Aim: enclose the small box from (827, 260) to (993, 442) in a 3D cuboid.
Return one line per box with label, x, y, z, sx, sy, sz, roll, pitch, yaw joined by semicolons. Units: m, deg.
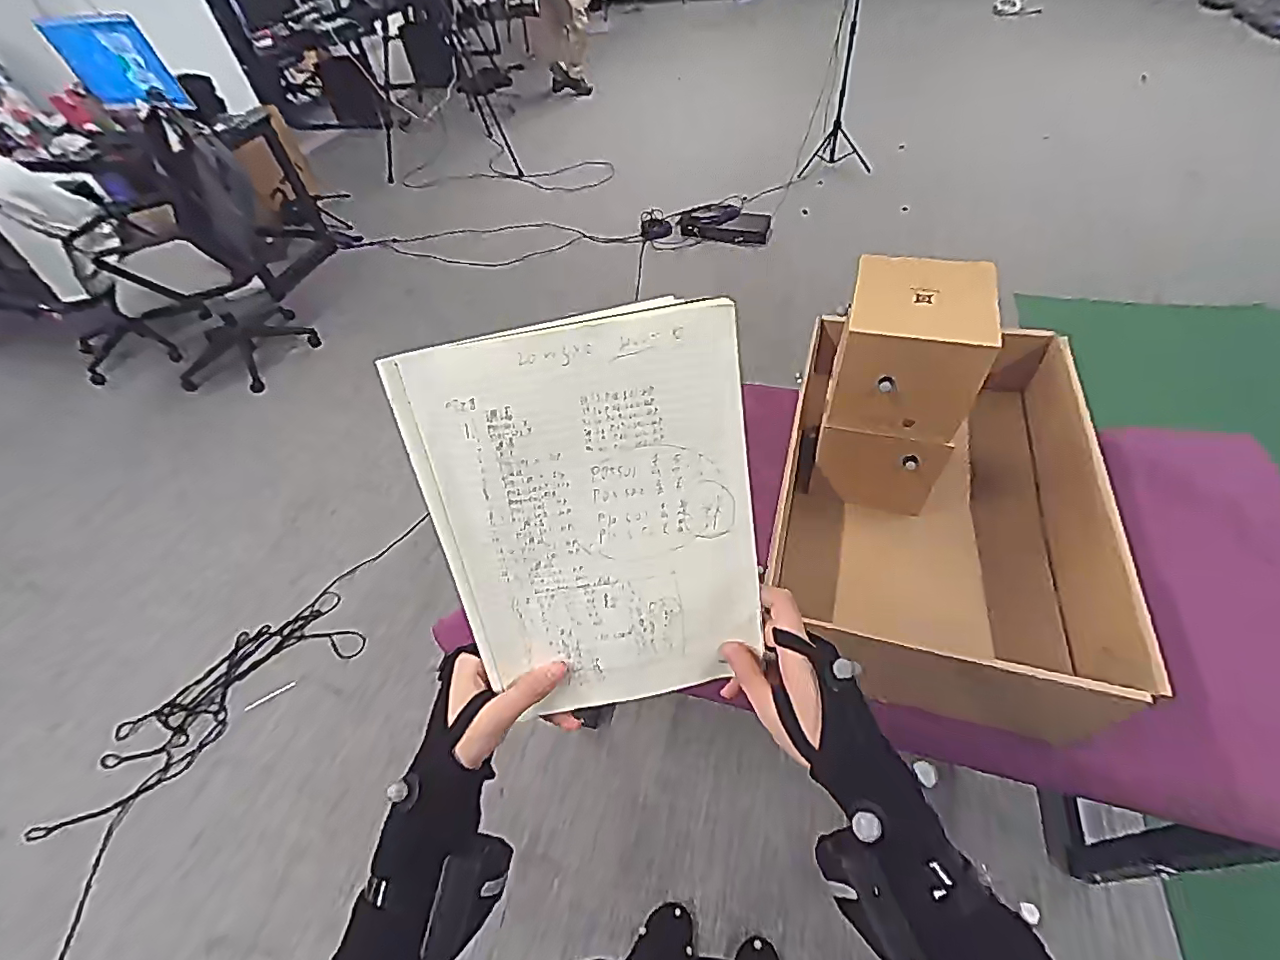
small box;0.357;-0.174;0.736;0.168;0.176;0.179;11;53;16
